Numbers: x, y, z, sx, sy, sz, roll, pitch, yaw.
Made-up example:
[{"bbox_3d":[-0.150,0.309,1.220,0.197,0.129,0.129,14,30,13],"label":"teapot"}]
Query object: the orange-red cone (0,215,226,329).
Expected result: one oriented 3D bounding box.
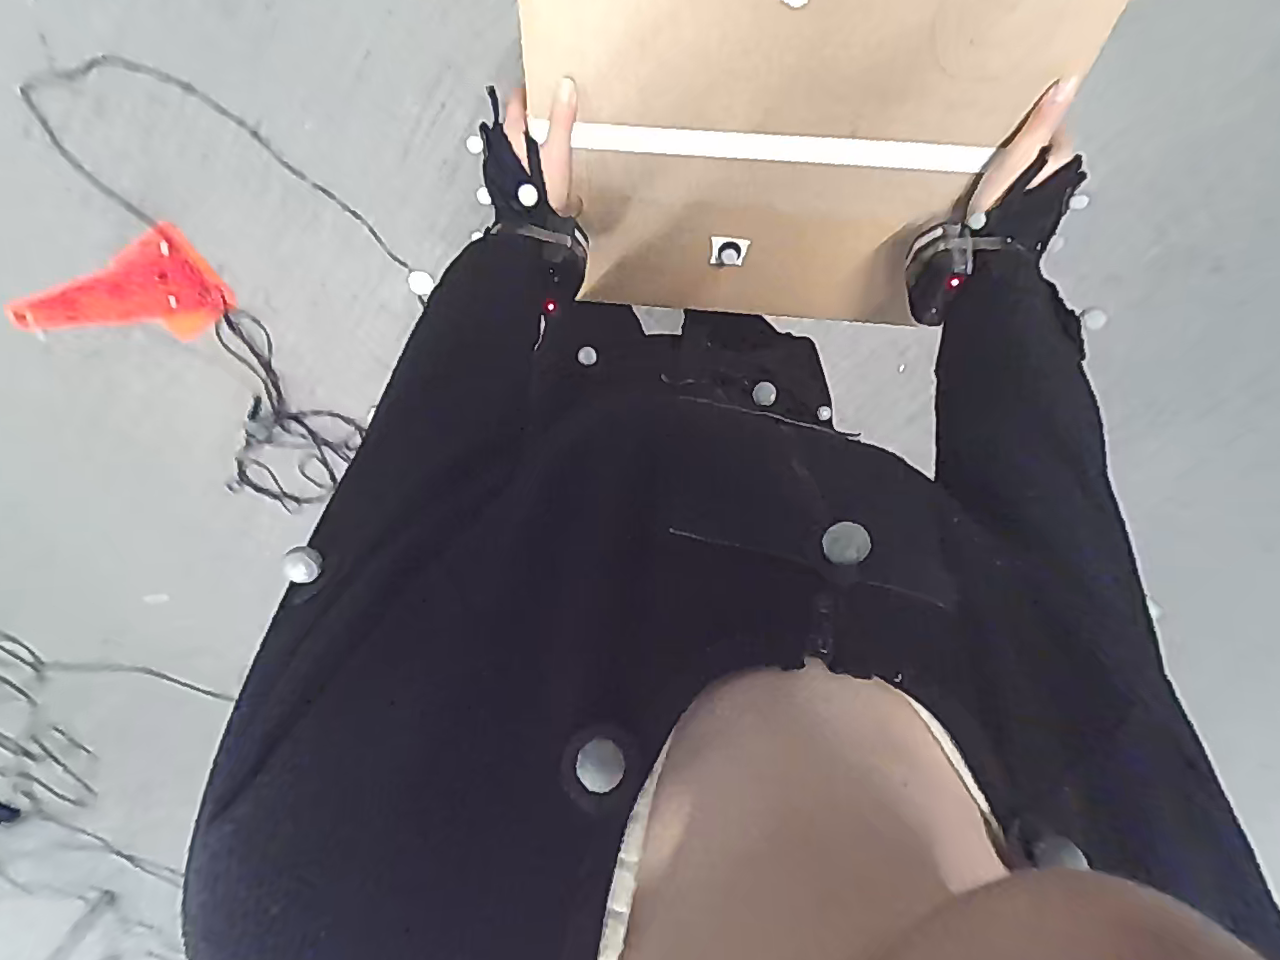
[{"bbox_3d":[-1.072,-0.383,1.069,0.199,0.360,0.198,-23,114,15],"label":"orange-red cone"}]
